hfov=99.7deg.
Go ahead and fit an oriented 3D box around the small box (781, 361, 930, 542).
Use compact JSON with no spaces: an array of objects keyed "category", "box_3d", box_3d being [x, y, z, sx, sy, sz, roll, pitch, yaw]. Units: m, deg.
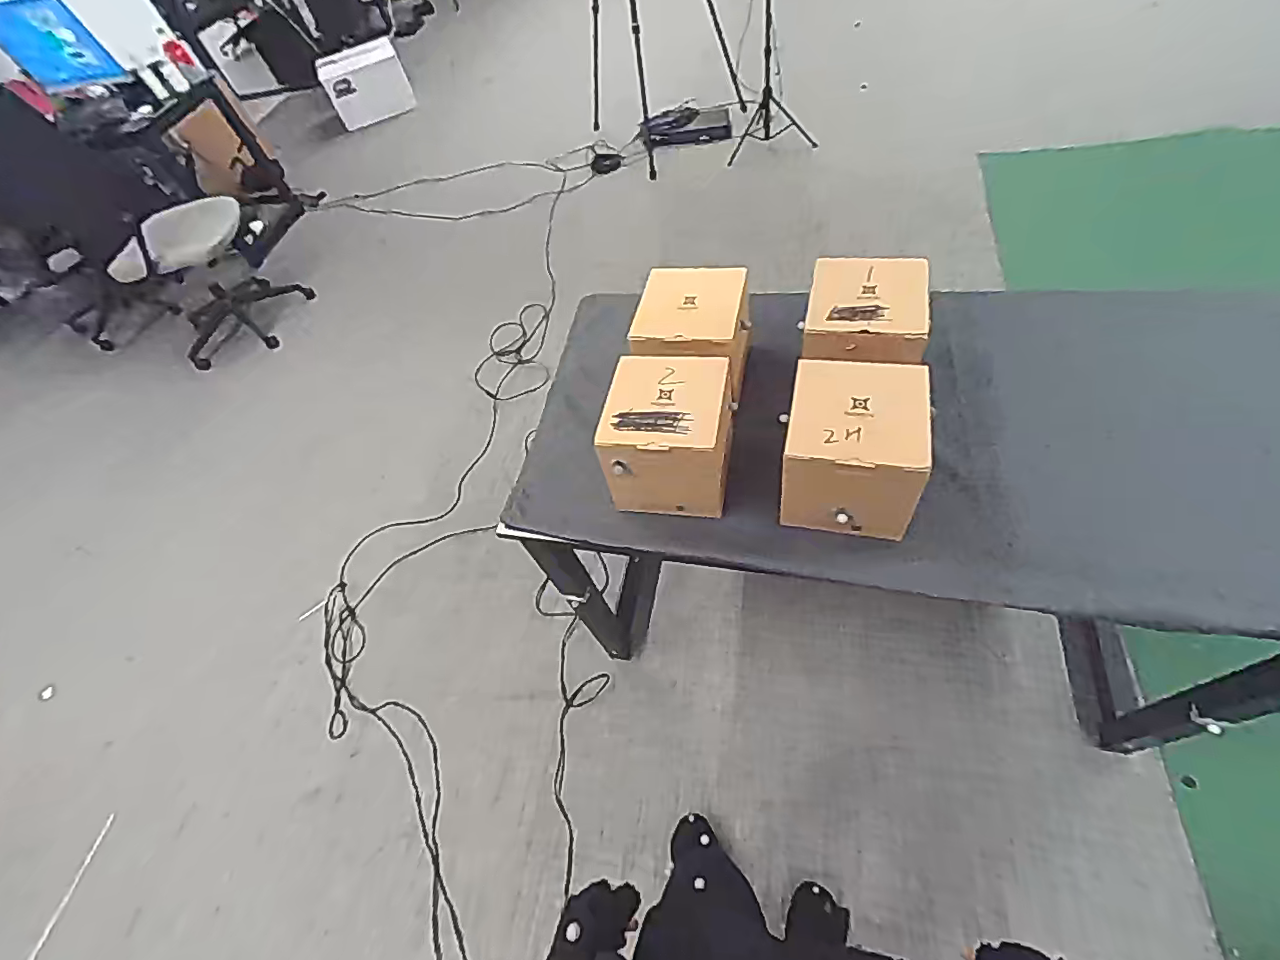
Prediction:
[{"category":"small box","box_3d":[0.290,-0.039,0.750,0.168,0.176,0.179,7,57,17]}]
